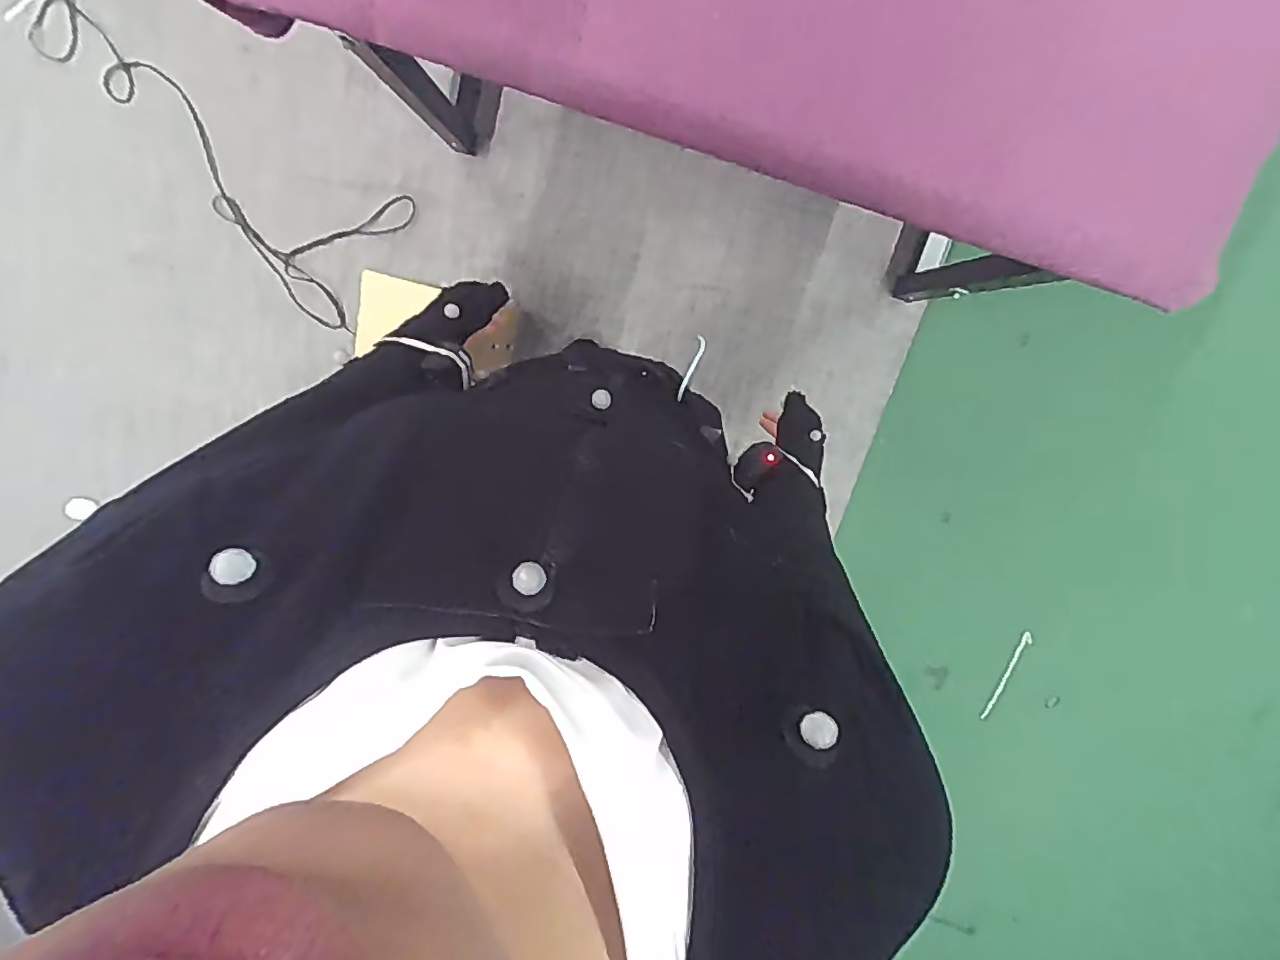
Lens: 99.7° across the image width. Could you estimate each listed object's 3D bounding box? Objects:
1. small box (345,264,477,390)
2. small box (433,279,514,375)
[{"bbox_3d":[-0.412,-0.282,1.000,0.168,0.176,0.179,15,107,-4],"label":"small box"},{"bbox_3d":[-0.417,-0.370,1.316,0.168,0.176,0.179,18,105,-5],"label":"small box"}]
